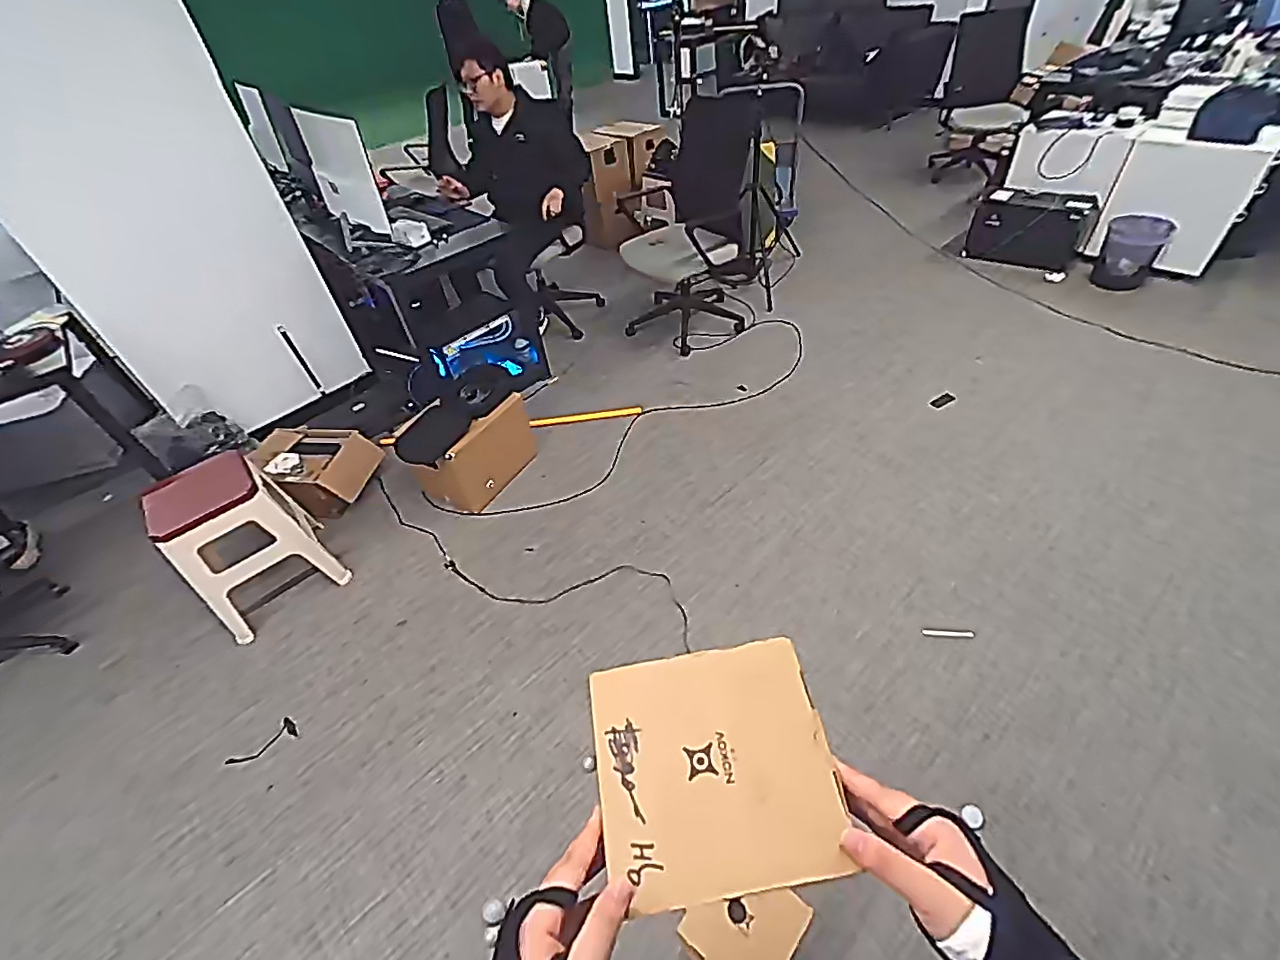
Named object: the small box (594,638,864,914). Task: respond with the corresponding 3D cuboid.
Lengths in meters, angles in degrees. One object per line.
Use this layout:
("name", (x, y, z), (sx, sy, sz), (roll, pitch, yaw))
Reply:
("small box", (0.063, 0.261, 0.476), (0.179, 0.176, 0.168), (-10, 52, -2))

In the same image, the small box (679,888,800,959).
("small box", (0.196, 0.923, 1.088), (0.168, 0.176, 0.179), (31, 57, 33))
